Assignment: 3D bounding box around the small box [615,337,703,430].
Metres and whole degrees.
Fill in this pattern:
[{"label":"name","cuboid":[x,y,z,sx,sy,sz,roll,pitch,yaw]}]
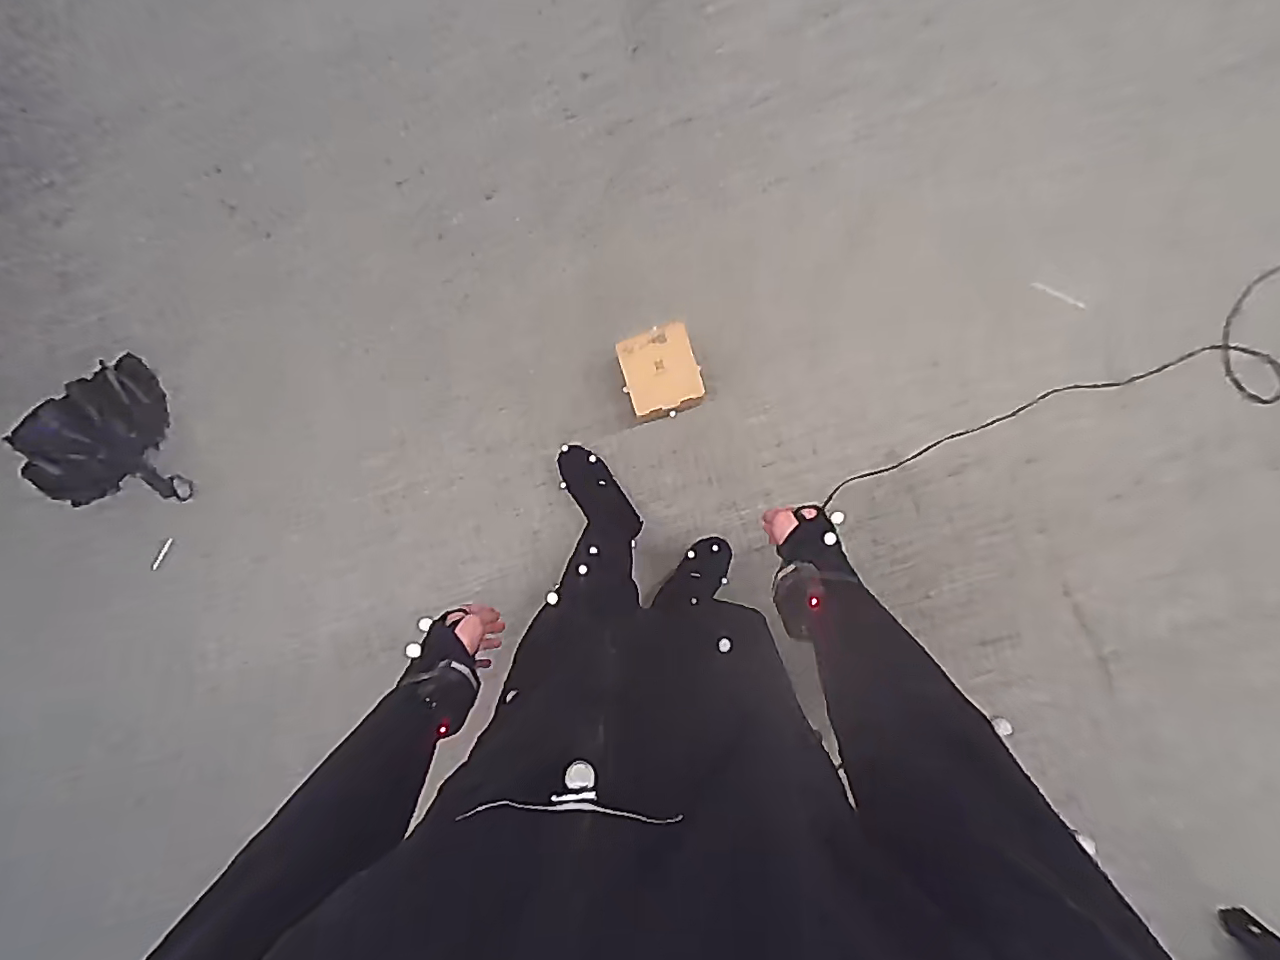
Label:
[{"label":"small box","cuboid":[0.049,-0.225,1.315,0.168,0.176,0.179,-18,90,3]}]
